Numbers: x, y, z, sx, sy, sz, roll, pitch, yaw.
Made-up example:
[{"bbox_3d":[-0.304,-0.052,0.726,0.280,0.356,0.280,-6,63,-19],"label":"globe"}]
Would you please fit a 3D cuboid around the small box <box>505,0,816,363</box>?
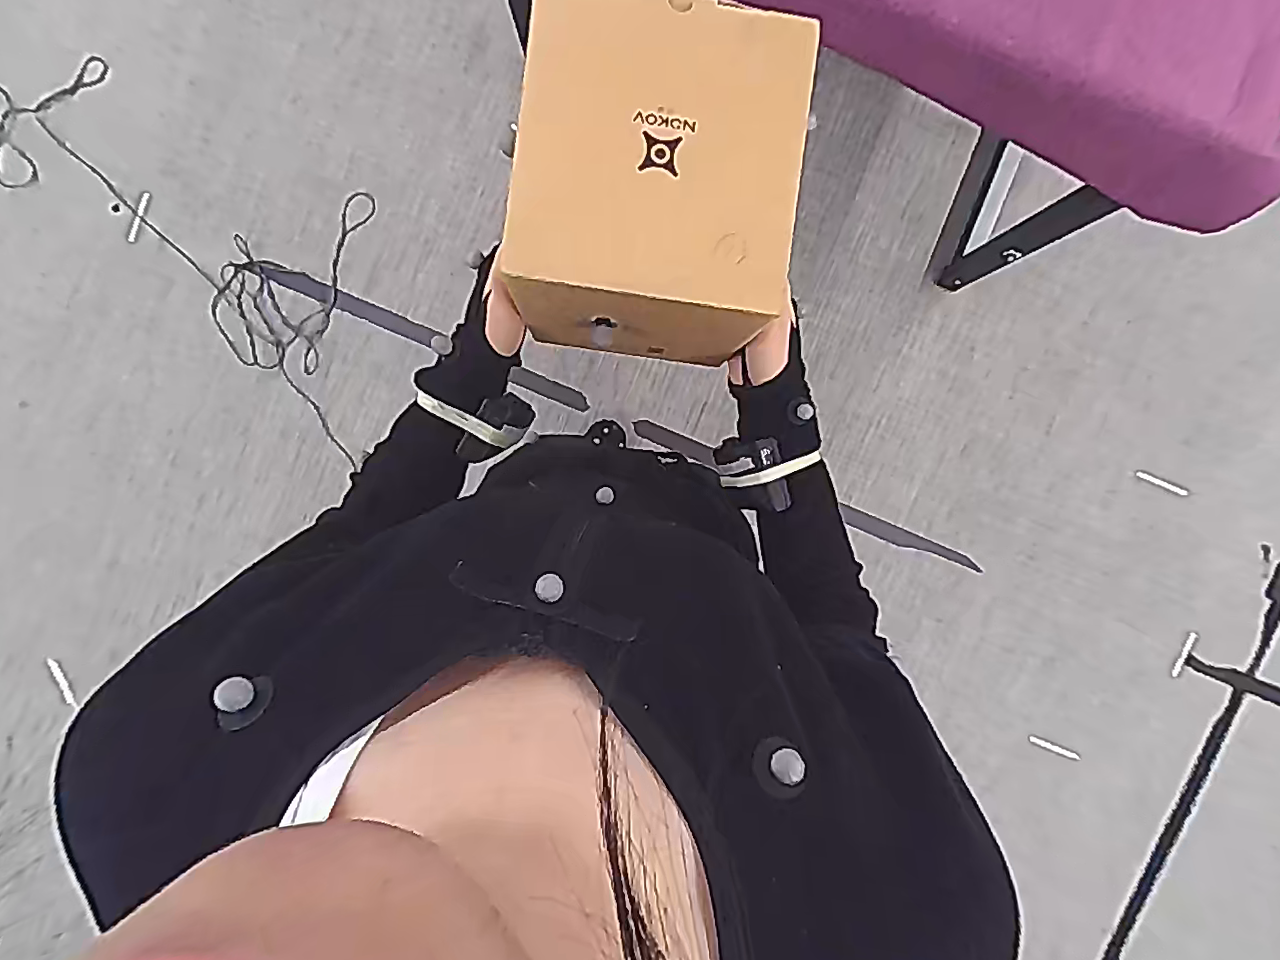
[{"bbox_3d":[0.008,-0.193,0.395,0.168,0.176,0.179,7,90,-4],"label":"small box"}]
